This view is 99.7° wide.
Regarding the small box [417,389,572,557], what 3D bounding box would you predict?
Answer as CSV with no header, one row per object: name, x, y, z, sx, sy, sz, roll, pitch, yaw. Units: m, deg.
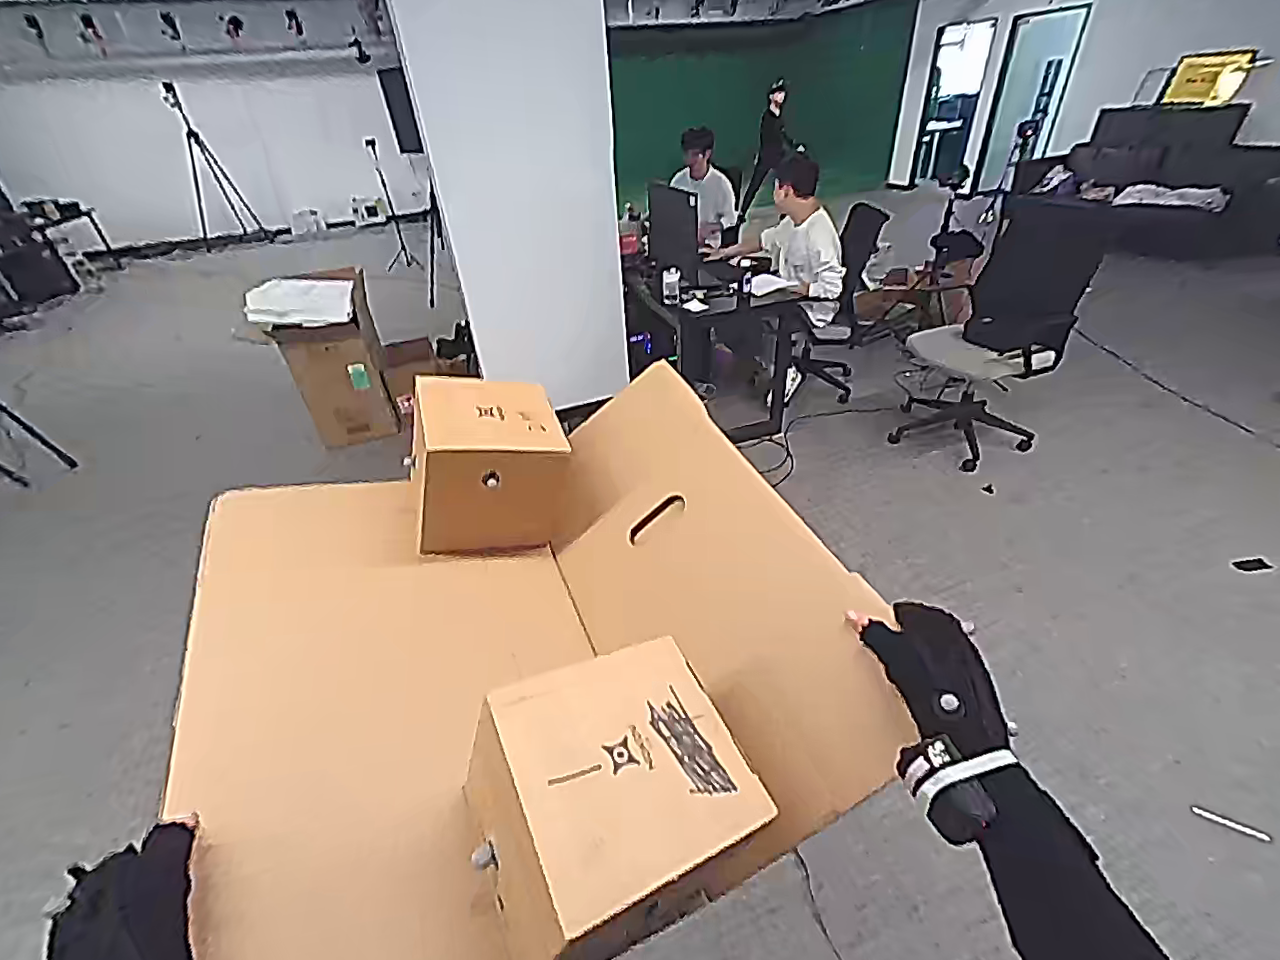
small box,-0.211,-0.008,0.746,0.179,0.176,0.168,0,39,-26
